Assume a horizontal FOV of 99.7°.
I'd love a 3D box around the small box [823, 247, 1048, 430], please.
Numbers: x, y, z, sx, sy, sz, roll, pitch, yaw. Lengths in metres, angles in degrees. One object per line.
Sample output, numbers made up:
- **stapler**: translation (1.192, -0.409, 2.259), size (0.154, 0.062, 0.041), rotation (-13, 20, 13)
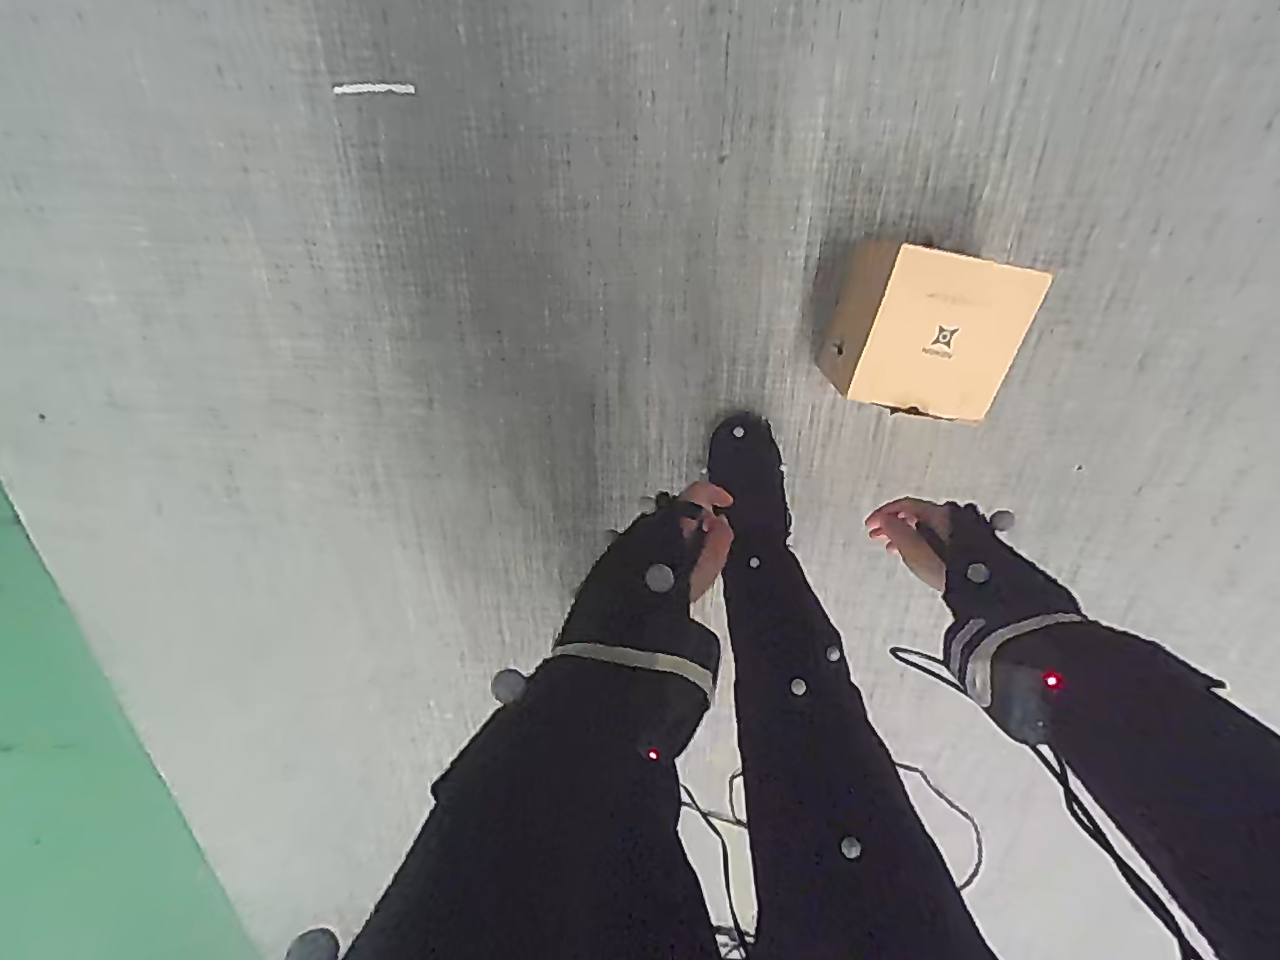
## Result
- **small box**: translation (0.344, -0.184, 0.677), size (0.168, 0.176, 0.179), rotation (11, 114, 0)
